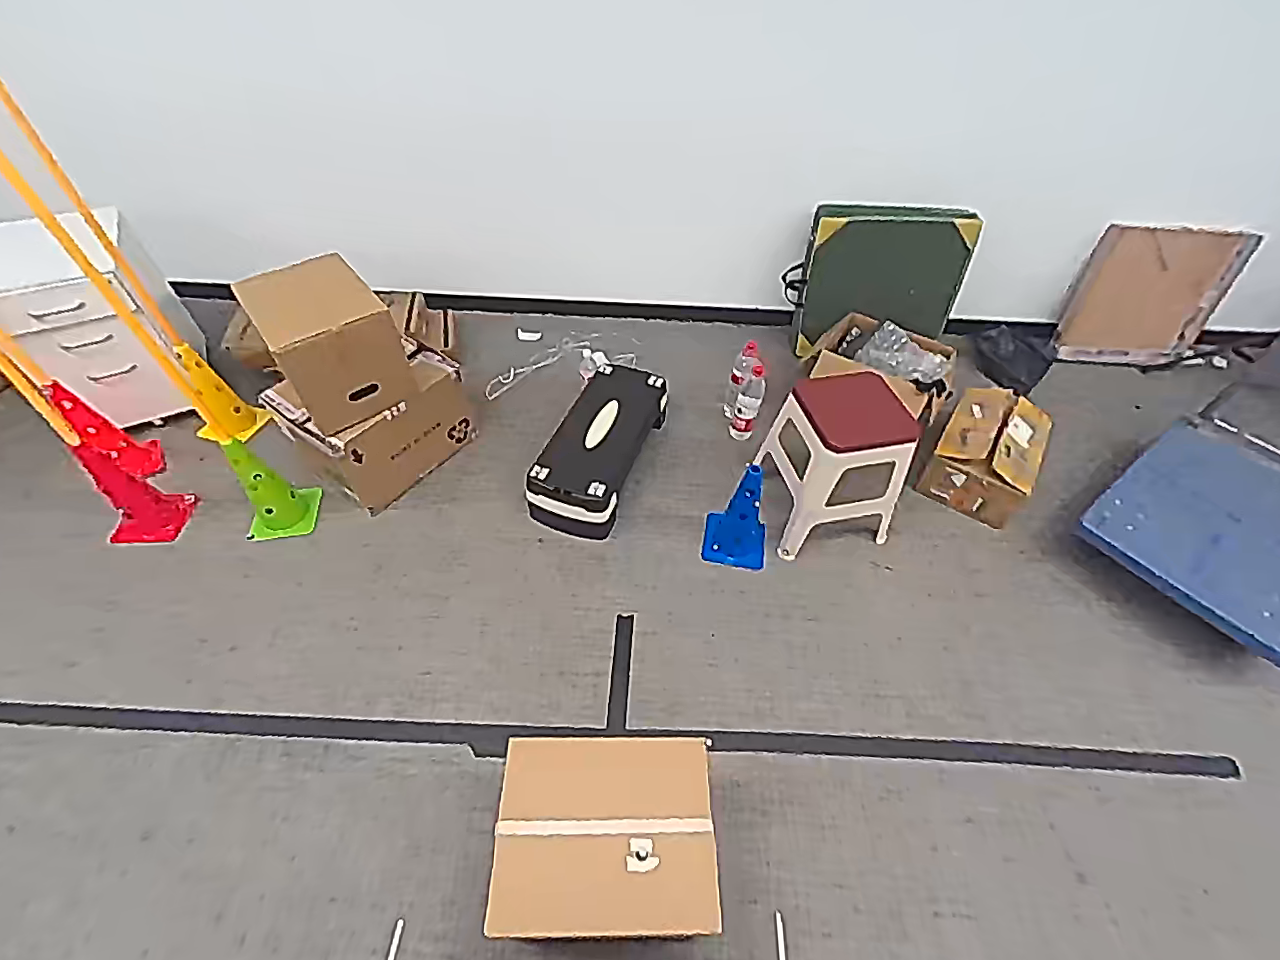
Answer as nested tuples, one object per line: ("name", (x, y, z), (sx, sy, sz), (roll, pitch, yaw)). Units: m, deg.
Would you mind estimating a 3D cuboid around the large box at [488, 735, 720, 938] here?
("large box", (-0.072, 0.741, 1.123), (0.408, 0.320, 0.320), (2, 50, -3))
